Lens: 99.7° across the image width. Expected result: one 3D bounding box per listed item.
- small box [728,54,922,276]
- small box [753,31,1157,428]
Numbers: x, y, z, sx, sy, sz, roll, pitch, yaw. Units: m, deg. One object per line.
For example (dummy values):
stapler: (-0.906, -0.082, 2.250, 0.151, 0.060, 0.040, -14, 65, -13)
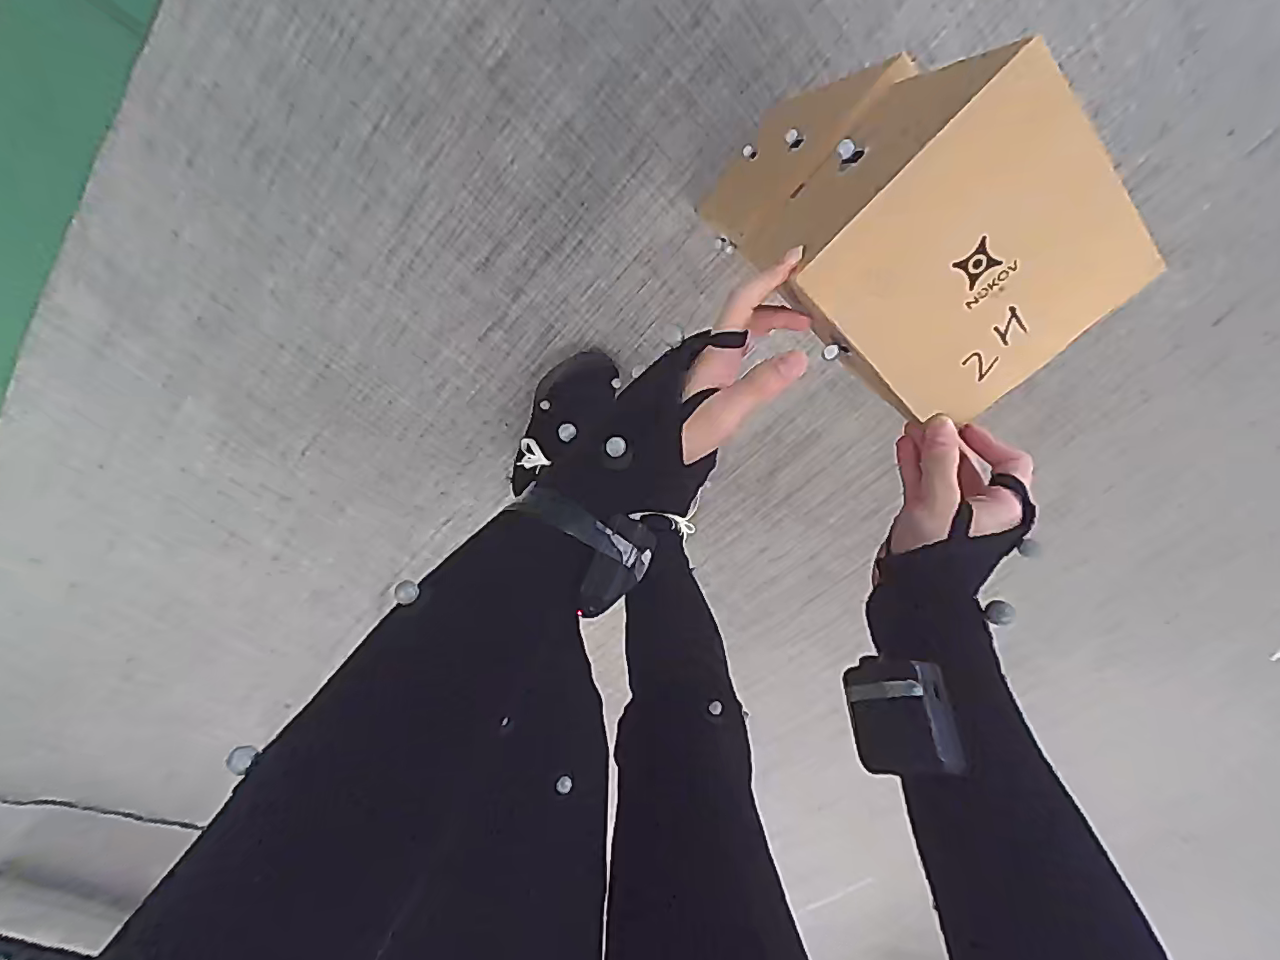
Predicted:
small box: (0.207, -0.272, 0.551, 0.168, 0.176, 0.179, 36, 112, -21)
small box: (0.212, -0.176, 0.414, 0.179, 0.176, 0.168, 37, 111, -21)
